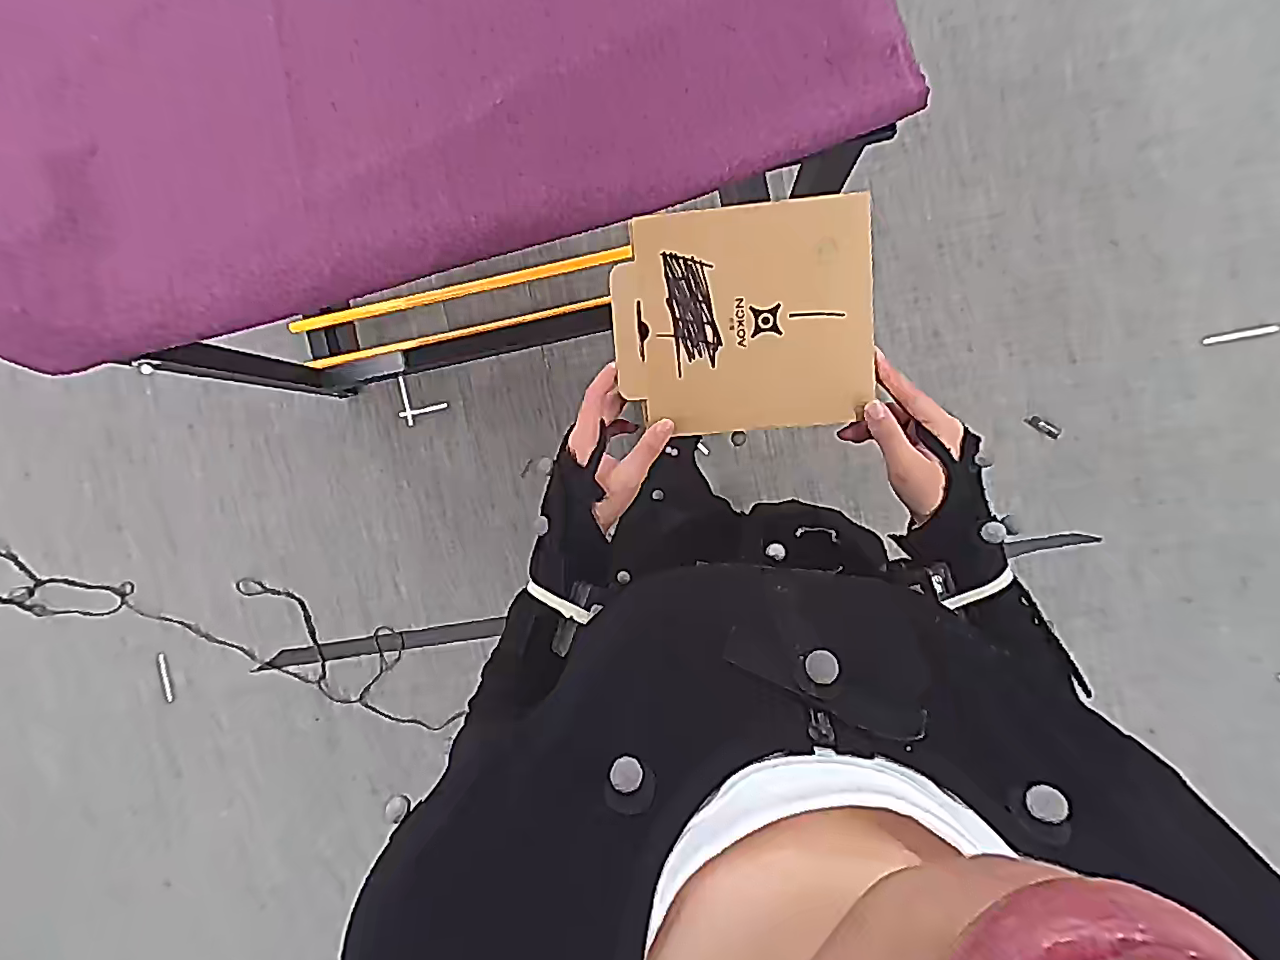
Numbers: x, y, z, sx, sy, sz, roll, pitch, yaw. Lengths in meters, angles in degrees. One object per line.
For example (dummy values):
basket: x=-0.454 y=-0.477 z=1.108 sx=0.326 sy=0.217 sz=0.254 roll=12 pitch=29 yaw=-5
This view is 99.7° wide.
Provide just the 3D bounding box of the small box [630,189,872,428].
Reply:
small box: x=0.090 y=-0.135 z=0.485 sx=0.179 sy=0.176 sz=0.168 roll=-4 pitch=98 yaw=4
